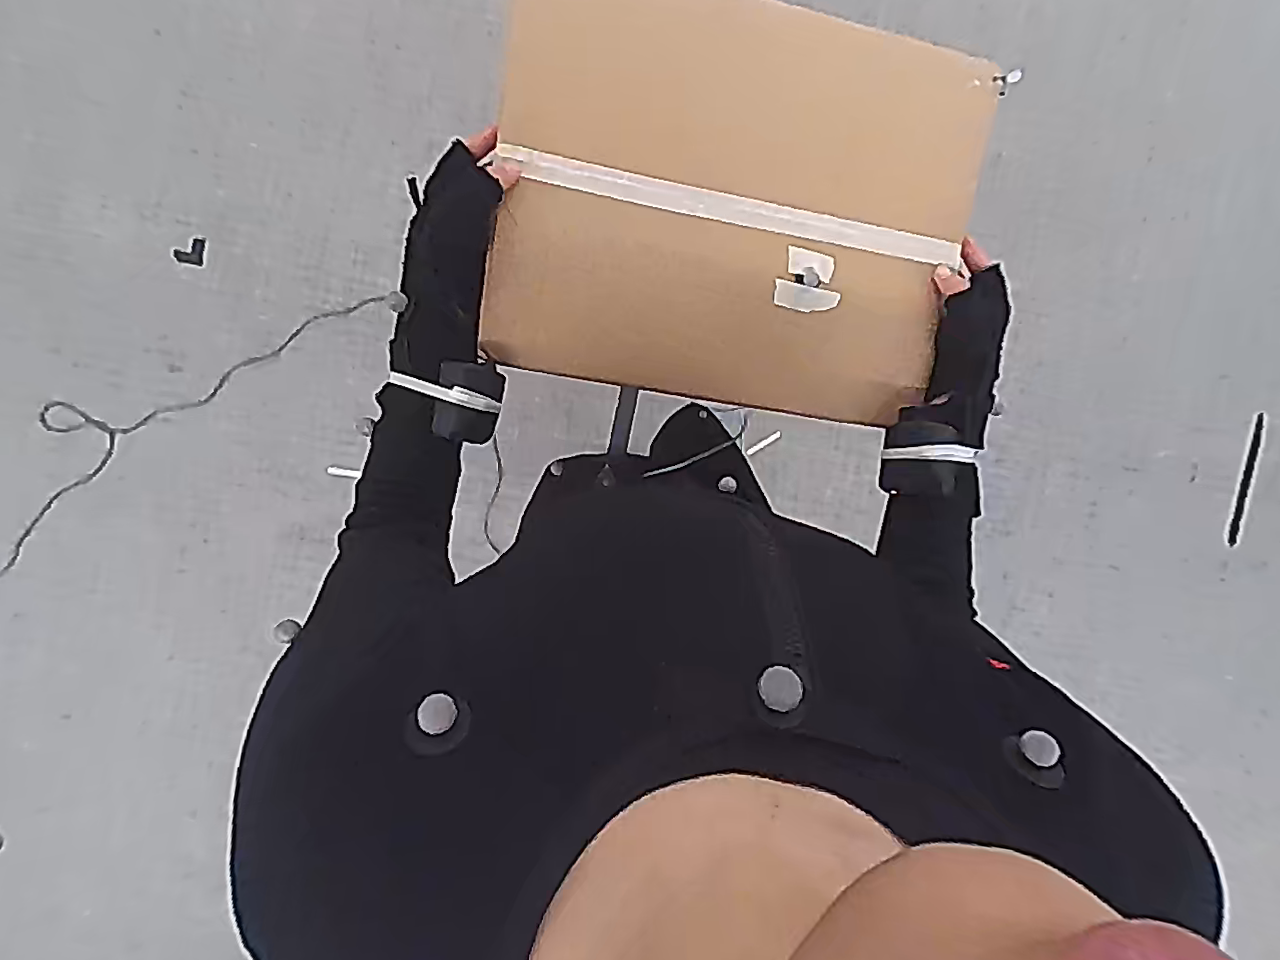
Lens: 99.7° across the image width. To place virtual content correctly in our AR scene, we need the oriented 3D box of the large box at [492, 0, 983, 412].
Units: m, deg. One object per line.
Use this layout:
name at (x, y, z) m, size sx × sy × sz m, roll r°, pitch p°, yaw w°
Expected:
large box at (0.065, -0.266, 0.612) m, size 0.408 × 0.320 × 0.320 m, roll 8°, pitch 101°, yaw -10°
